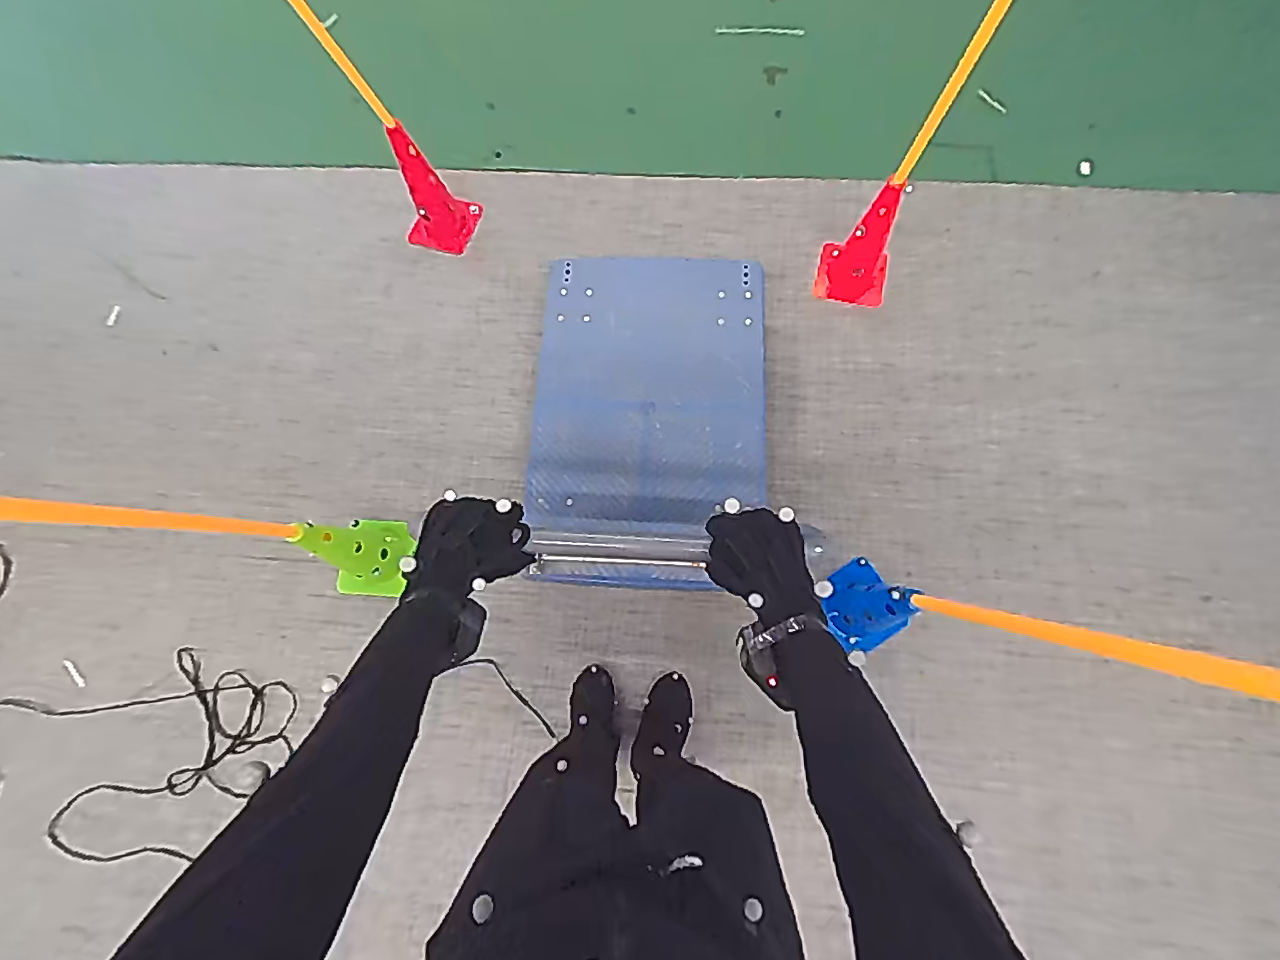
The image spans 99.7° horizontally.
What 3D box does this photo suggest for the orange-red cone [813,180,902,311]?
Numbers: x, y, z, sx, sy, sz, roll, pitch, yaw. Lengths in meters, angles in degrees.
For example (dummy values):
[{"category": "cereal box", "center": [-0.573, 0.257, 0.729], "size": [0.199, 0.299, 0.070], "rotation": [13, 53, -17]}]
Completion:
[{"category": "orange-red cone", "center": [0.623, -0.654, 1.465], "size": [0.198, 0.360, 0.199], "rotation": [14, 75, 8]}]
